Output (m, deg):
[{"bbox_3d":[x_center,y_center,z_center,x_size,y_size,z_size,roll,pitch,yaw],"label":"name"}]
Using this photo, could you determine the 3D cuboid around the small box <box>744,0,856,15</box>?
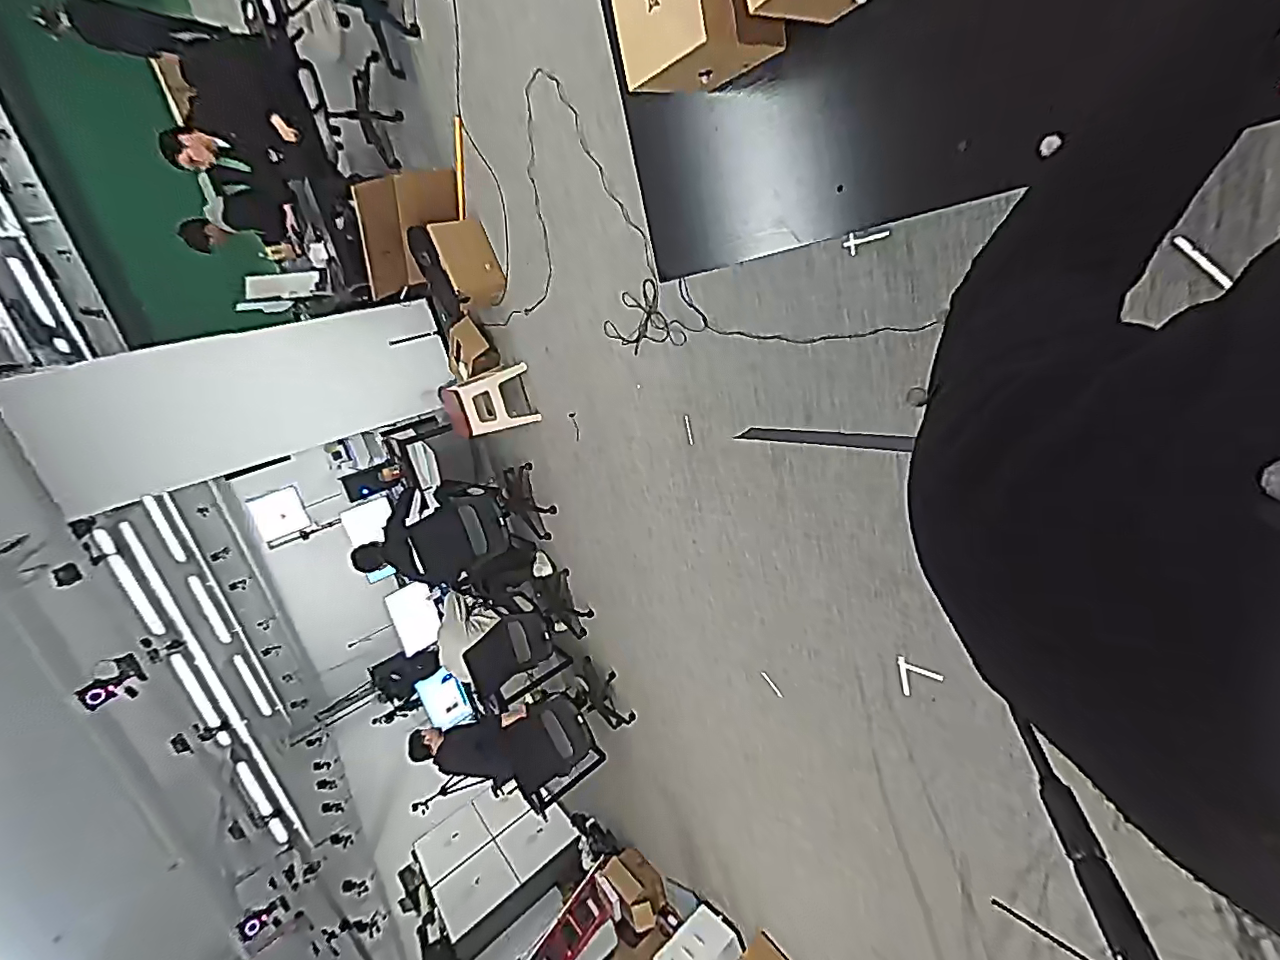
[{"bbox_3d":[0.213,-0.647,0.580,0.168,0.176,0.179,9,121,52],"label":"small box"}]

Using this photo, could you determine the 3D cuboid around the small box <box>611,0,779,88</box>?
[{"bbox_3d":[0.076,-0.679,0.755,0.168,0.176,0.179,15,123,50],"label":"small box"}]
